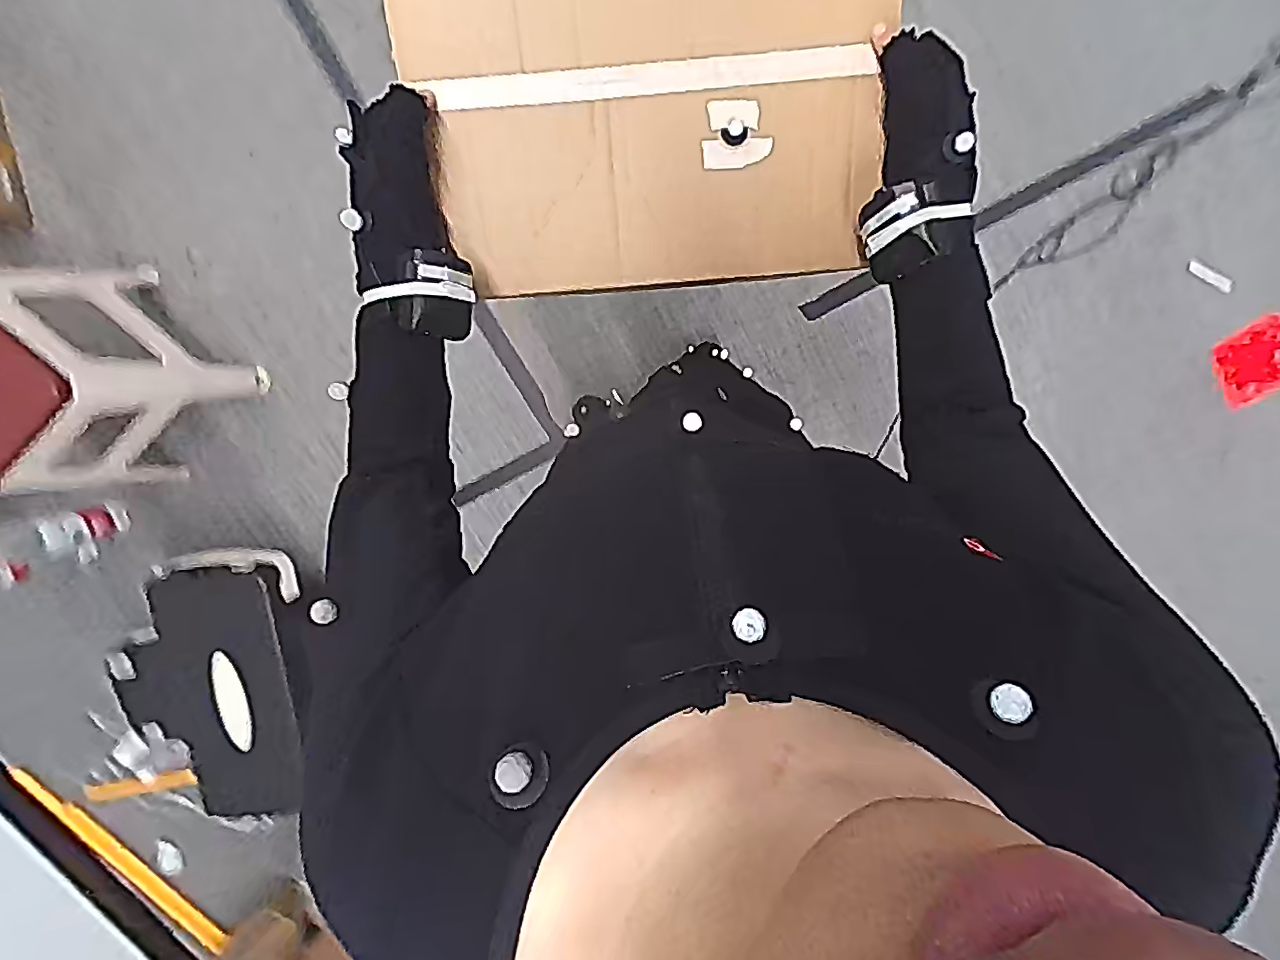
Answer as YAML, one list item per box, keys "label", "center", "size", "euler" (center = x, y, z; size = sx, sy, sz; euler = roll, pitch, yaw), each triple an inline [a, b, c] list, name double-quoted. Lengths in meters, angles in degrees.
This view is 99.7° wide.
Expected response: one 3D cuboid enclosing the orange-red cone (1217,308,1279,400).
- label: "orange-red cone"
  center: [1.692, -0.305, 1.307]
  size: [0.199, 0.360, 0.198]
  euler: [-32, 103, 3]
